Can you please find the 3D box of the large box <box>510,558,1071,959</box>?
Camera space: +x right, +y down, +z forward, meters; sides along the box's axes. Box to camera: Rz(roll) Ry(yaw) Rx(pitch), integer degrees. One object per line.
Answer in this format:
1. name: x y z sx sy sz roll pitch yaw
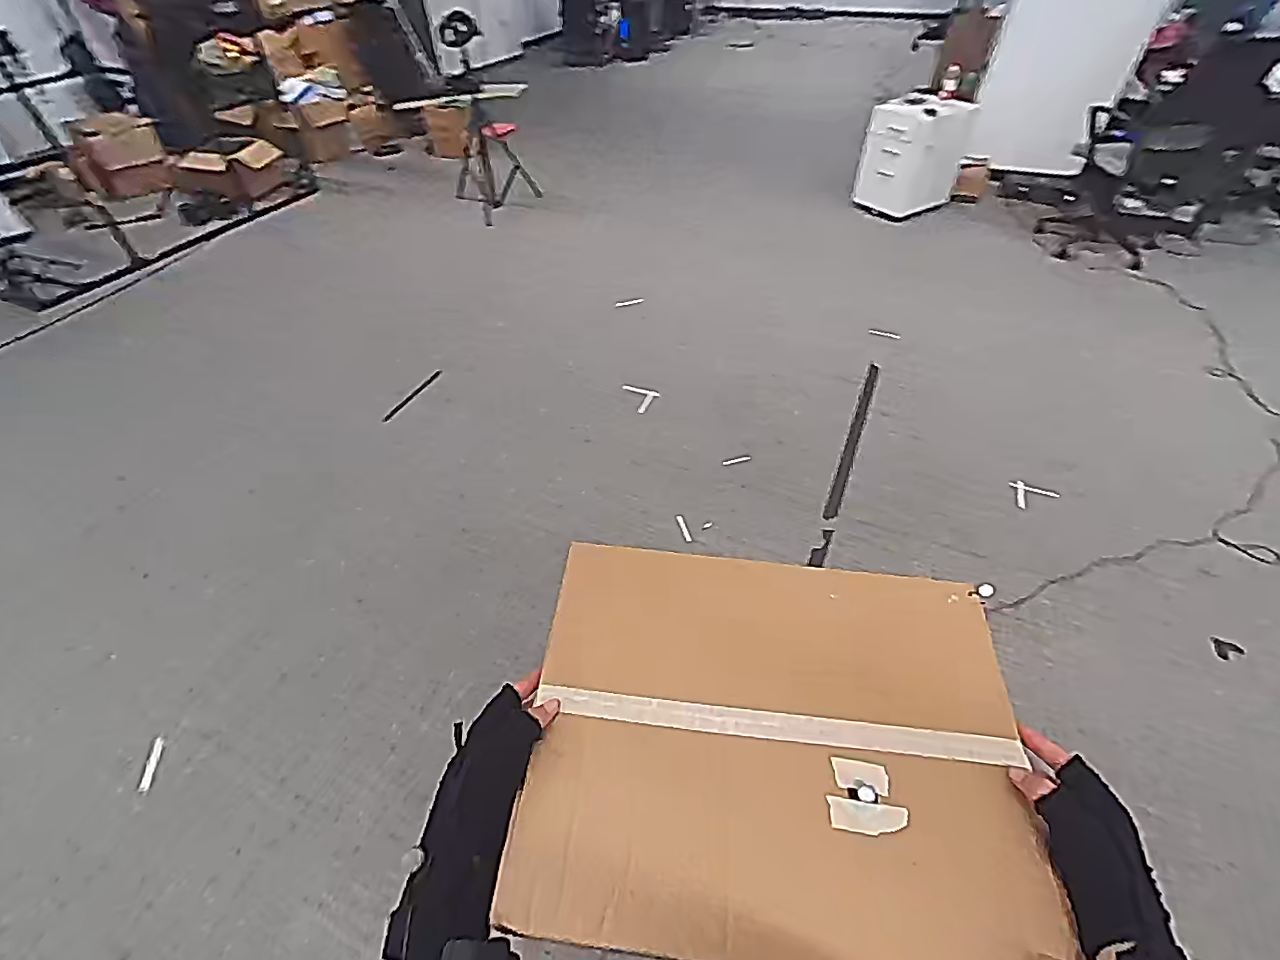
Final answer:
1. large box: 0.115 0.309 0.581 0.408 0.320 0.320 6 53 4
